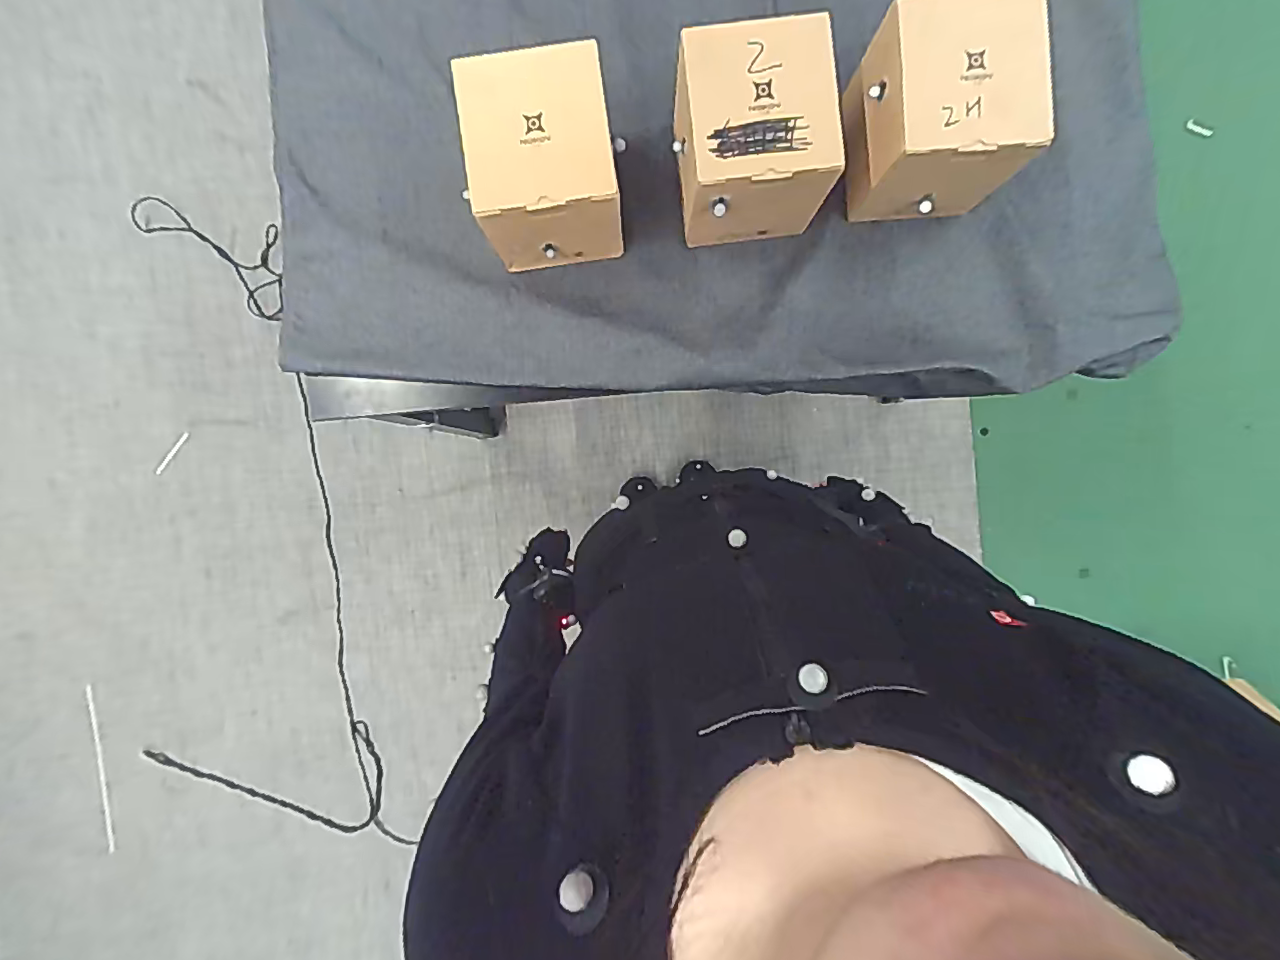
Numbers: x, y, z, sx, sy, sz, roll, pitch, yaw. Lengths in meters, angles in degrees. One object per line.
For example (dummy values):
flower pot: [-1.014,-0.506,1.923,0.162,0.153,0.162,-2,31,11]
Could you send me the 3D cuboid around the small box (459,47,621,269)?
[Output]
small box: [-0.116,-0.395,0.690,0.168,0.176,0.179,-8,91,0]
